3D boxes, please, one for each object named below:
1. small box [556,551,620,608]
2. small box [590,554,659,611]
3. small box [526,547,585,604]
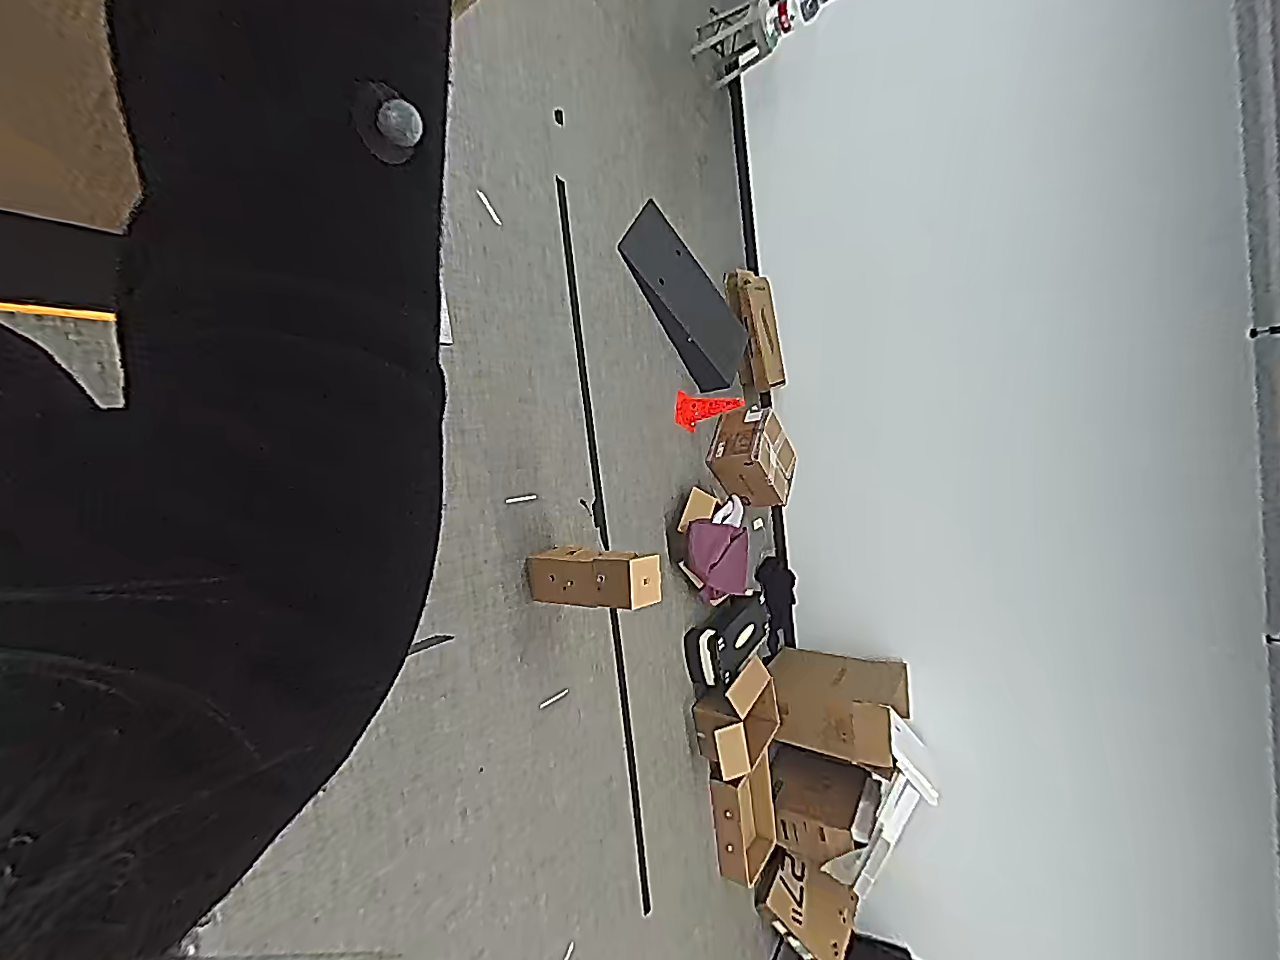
[{"bbox_3d":[-0.181,0.356,1.967,0.179,0.176,0.168,-10,95,-54],"label":"small box"},{"bbox_3d":[-0.053,0.348,1.866,0.179,0.176,0.168,0,87,-53],"label":"small box"},{"bbox_3d":[-0.315,0.360,2.062,0.168,0.176,0.179,-16,101,-53],"label":"small box"}]
